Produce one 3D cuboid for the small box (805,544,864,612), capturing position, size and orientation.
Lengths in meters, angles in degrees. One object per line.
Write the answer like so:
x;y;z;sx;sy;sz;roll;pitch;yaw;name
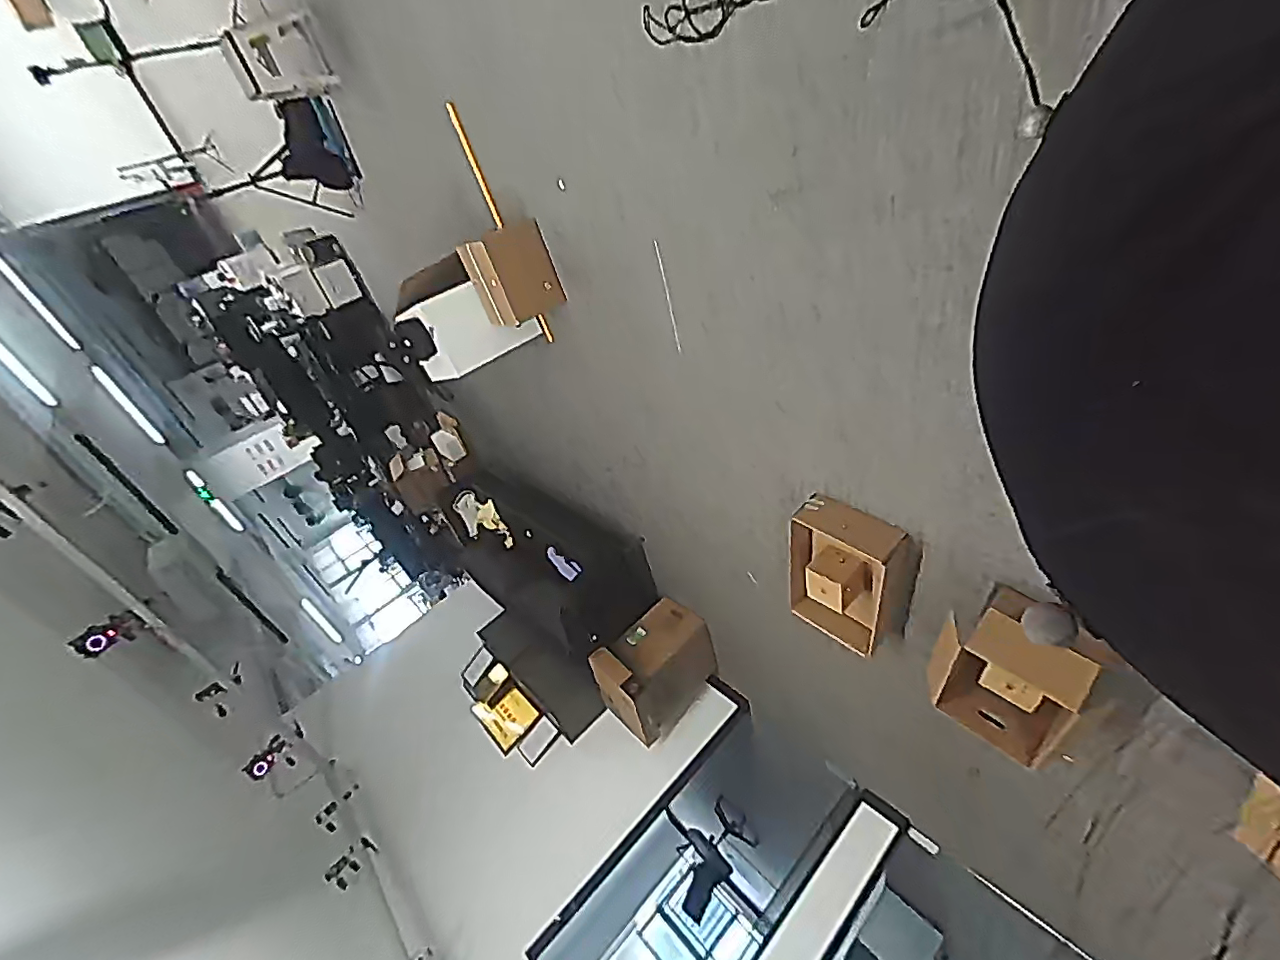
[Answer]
0.799;0.398;2.213;0.168;0.176;0.179;26;143;43;small box
